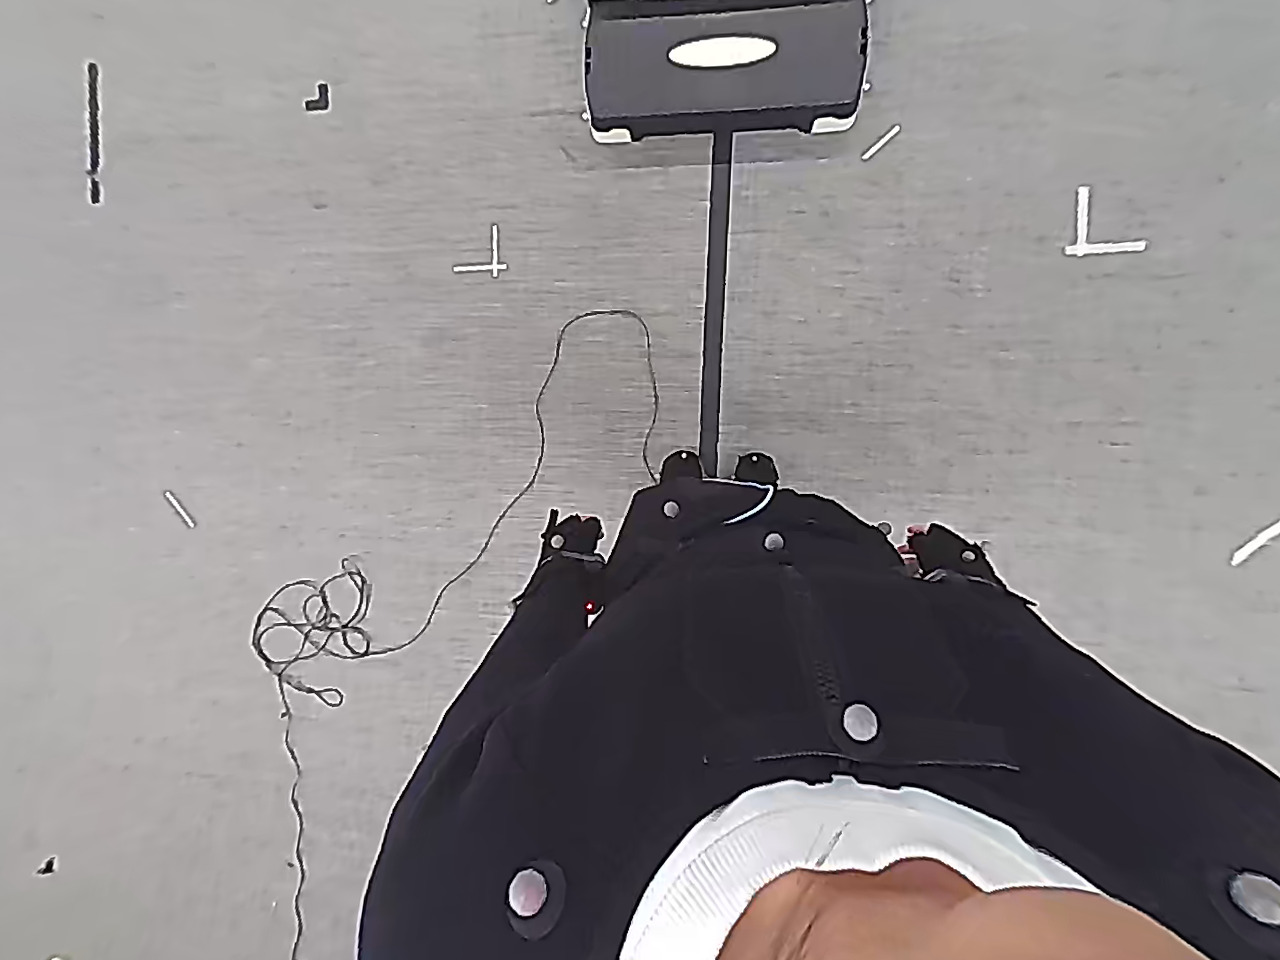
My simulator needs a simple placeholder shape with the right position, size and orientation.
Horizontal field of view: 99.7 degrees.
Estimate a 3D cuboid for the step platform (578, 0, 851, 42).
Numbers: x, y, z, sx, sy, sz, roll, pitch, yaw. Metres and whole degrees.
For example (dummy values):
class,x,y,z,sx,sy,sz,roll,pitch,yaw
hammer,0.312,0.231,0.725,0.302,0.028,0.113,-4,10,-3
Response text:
class,x,y,z,sx,sy,sz,roll,pitch,yaw
step platform,0.177,-1.263,1.261,0.684,0.204,0.286,1,95,7
